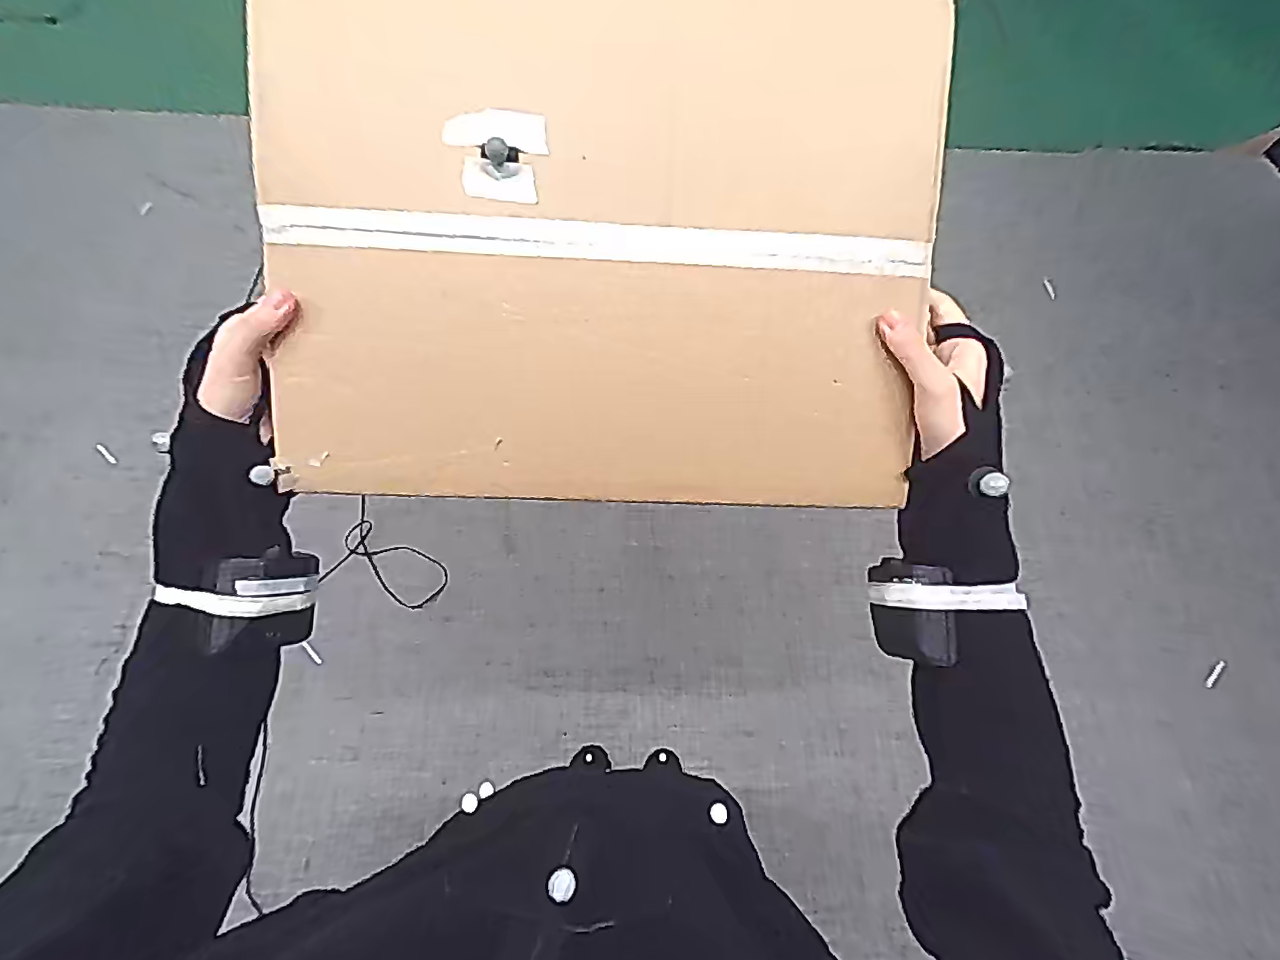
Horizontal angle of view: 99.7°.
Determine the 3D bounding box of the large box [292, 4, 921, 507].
[{"bbox_3d":[-0.023,-0.155,0.504,0.408,0.320,0.320,1,96,-3],"label":"large box"}]
